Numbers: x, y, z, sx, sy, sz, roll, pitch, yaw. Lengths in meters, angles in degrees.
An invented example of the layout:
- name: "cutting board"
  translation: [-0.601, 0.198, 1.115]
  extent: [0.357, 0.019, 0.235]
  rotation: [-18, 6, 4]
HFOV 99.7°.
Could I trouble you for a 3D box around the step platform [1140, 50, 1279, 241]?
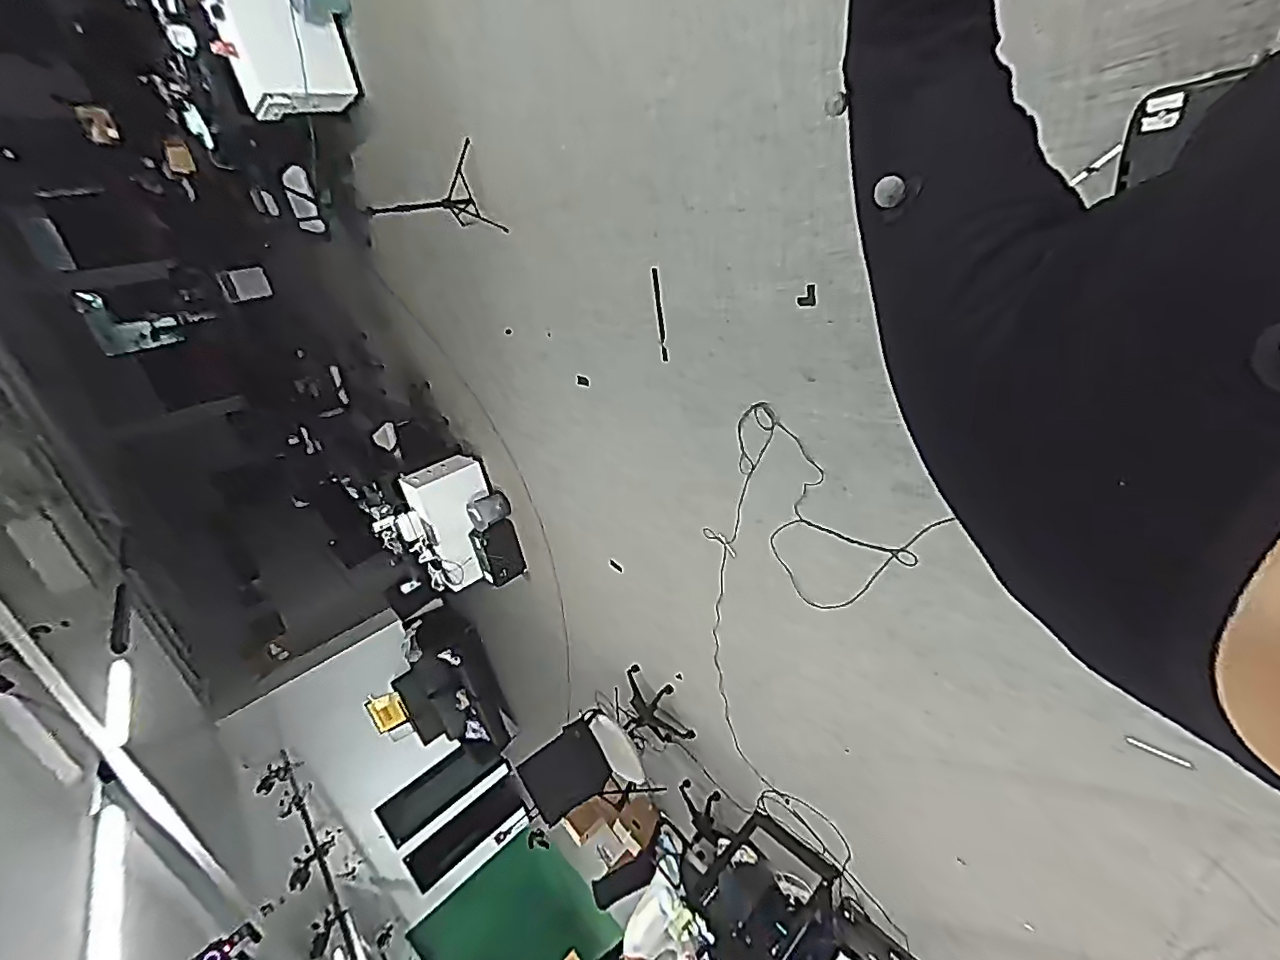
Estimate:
- name: "step platform"
  translation: [1.237, -0.568, 0.834]
  extent: [0.684, 0.204, 0.286]
  rotation: [14, 125, 46]
